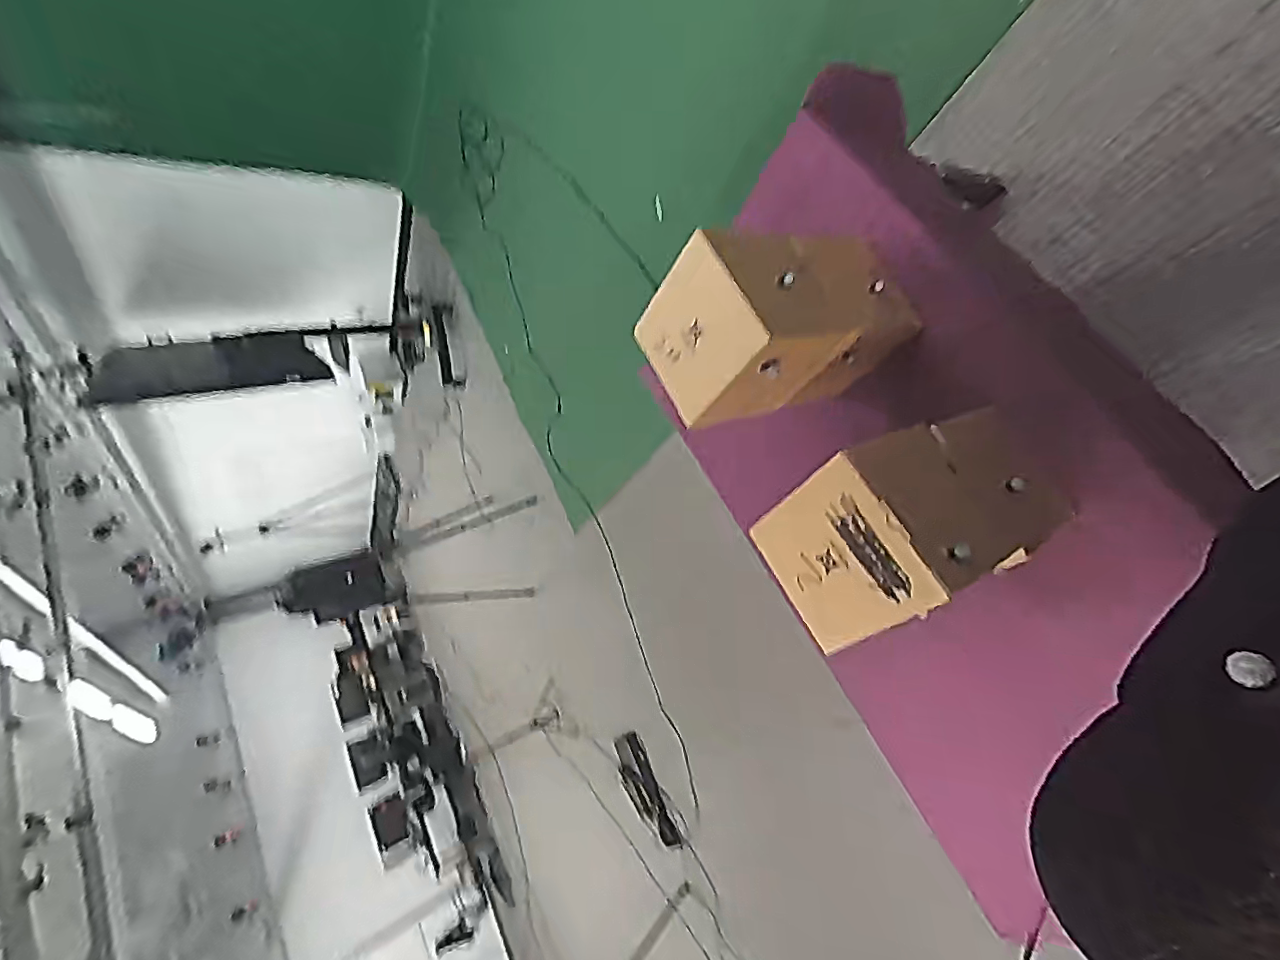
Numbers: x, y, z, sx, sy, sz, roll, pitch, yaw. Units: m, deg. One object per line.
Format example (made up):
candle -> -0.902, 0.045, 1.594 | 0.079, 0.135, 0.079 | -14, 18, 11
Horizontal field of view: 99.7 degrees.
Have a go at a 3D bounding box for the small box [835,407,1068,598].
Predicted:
small box -> 0.404, 0.025, 0.706 | 0.179, 0.176, 0.168 | 62, 142, 16

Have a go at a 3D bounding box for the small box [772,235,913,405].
small box -> 0.261, -0.233, 0.807 | 0.179, 0.176, 0.168 | -46, 65, 49

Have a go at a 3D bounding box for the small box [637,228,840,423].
small box -> 0.132, -0.200, 0.711 | 0.179, 0.176, 0.168 | -48, 63, 49
